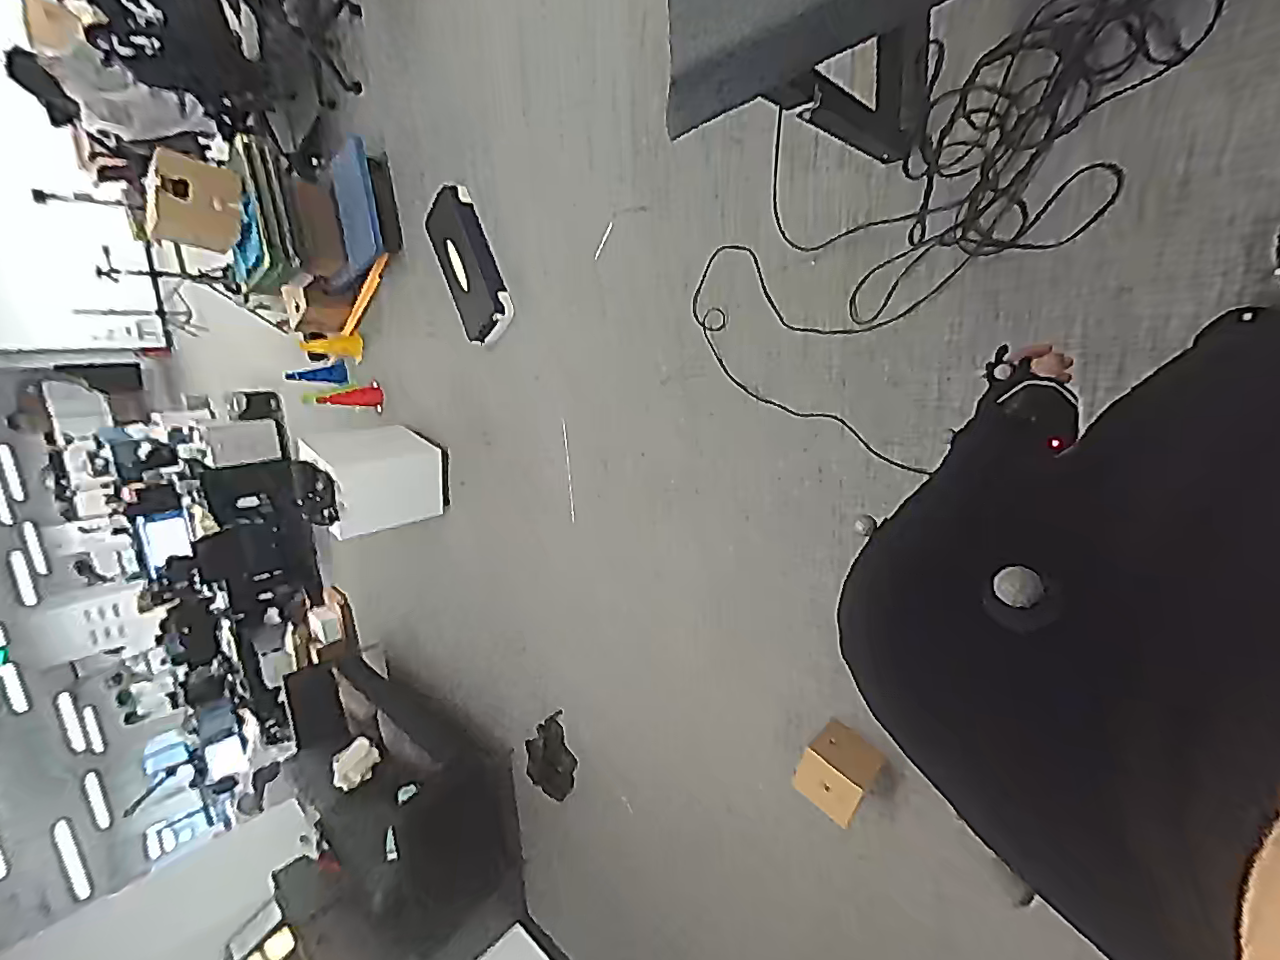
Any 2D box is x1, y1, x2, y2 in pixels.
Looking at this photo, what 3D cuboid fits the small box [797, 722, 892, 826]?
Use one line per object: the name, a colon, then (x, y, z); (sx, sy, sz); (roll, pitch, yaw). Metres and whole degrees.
small box: (0.588, 0.831, 1.555); (0.179, 0.176, 0.168); (29, 121, 36)
